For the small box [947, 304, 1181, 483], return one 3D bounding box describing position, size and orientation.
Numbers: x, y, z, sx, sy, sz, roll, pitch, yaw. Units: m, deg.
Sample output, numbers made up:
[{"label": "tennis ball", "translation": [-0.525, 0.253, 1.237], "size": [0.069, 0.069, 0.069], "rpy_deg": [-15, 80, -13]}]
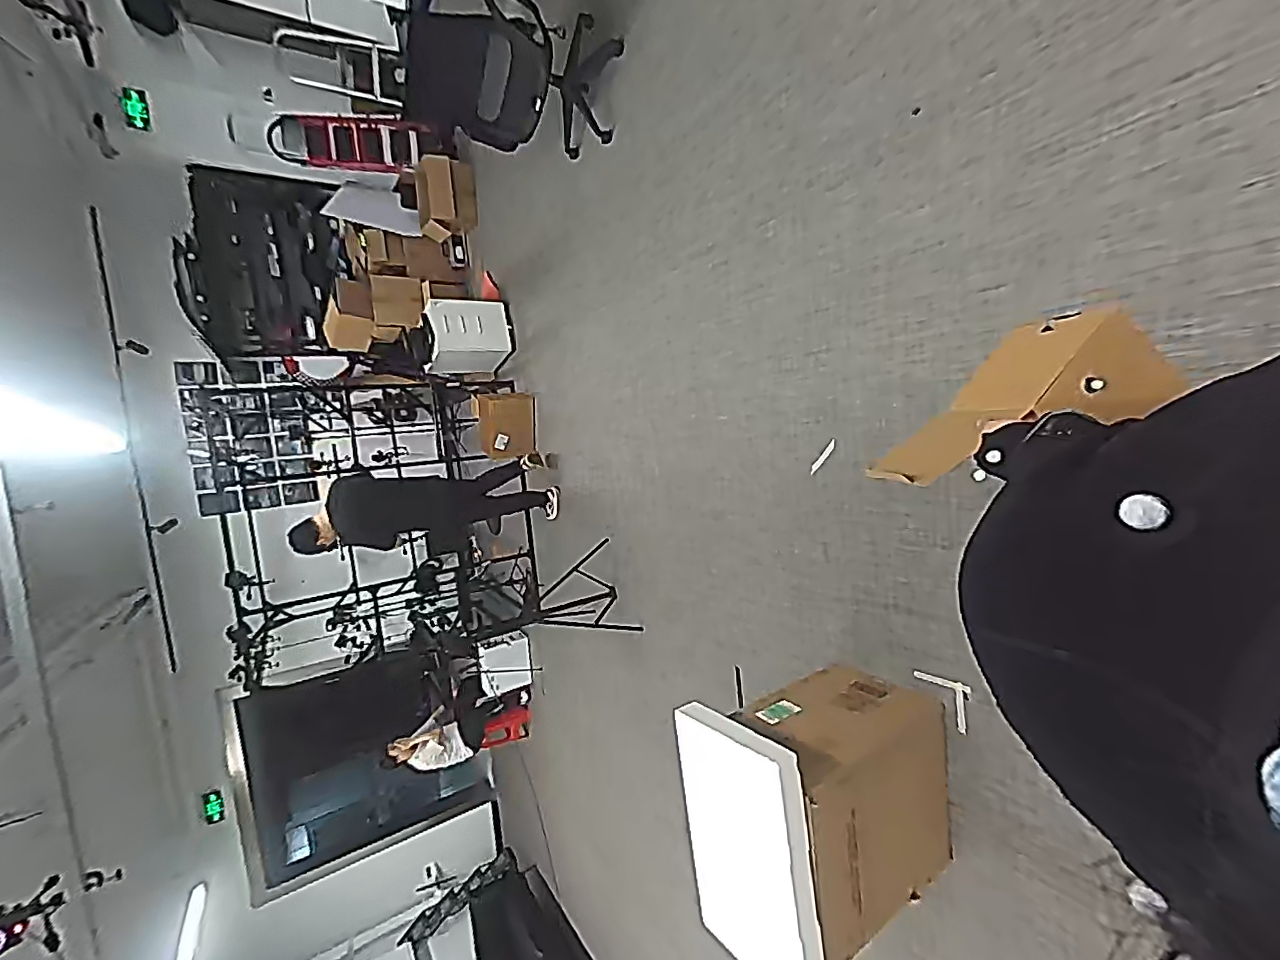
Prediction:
[{"label": "small box", "translation": [0.604, -0.116, 0.779], "size": [0.176, 0.179, 0.168], "rpy_deg": [40, 180, -10]}]
